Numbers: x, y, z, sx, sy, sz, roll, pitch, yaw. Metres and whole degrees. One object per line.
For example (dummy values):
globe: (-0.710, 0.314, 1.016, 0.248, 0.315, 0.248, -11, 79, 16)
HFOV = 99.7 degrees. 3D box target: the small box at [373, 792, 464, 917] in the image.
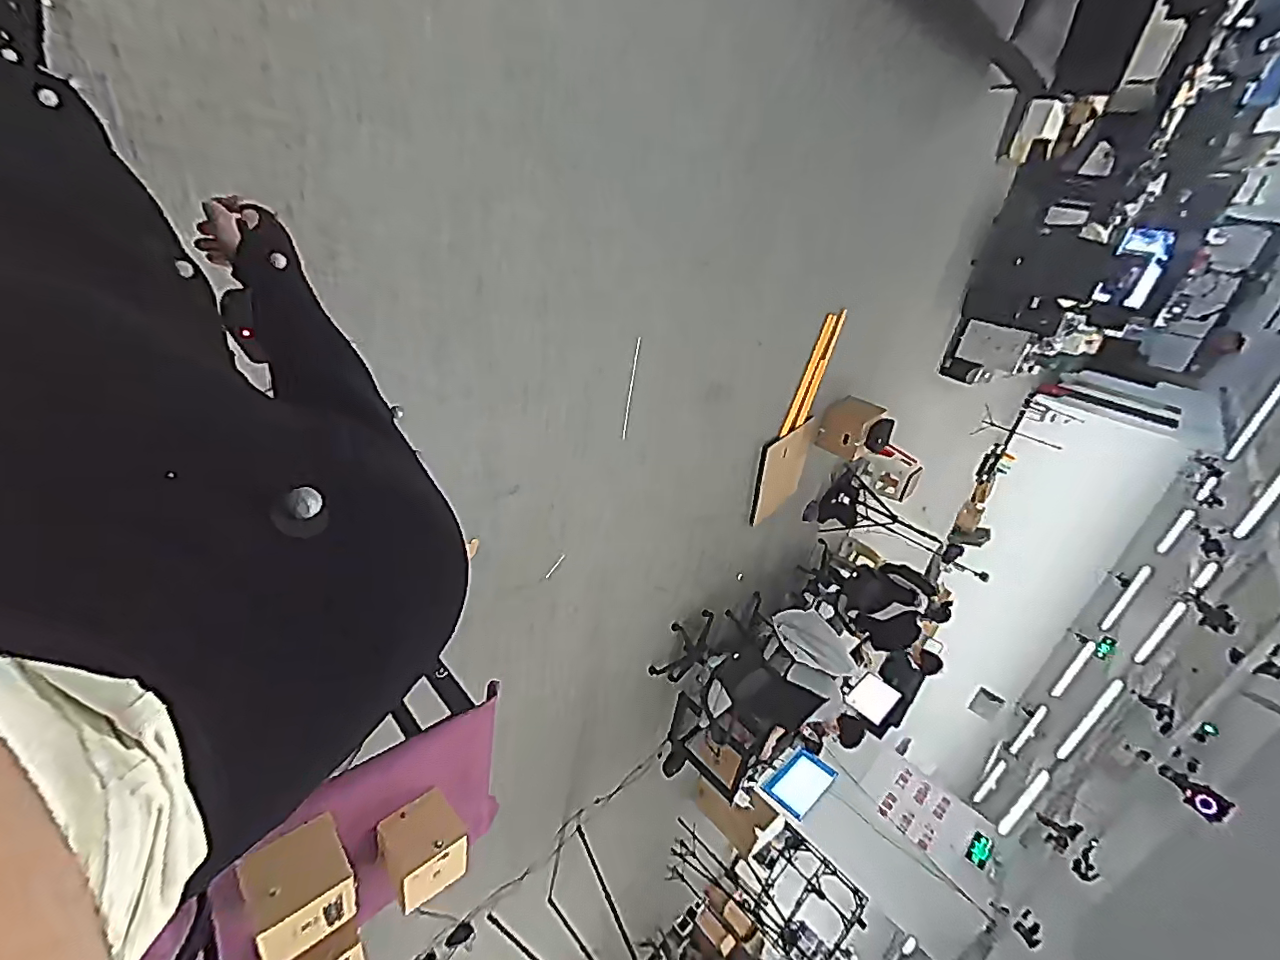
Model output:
small box: (-0.582, 0.970, 1.416, 0.168, 0.176, 0.179, -18, 129, -44)

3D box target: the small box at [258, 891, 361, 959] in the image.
small box: (-0.791, 1.144, 1.299, 0.168, 0.176, 0.179, -19, 129, -42)
